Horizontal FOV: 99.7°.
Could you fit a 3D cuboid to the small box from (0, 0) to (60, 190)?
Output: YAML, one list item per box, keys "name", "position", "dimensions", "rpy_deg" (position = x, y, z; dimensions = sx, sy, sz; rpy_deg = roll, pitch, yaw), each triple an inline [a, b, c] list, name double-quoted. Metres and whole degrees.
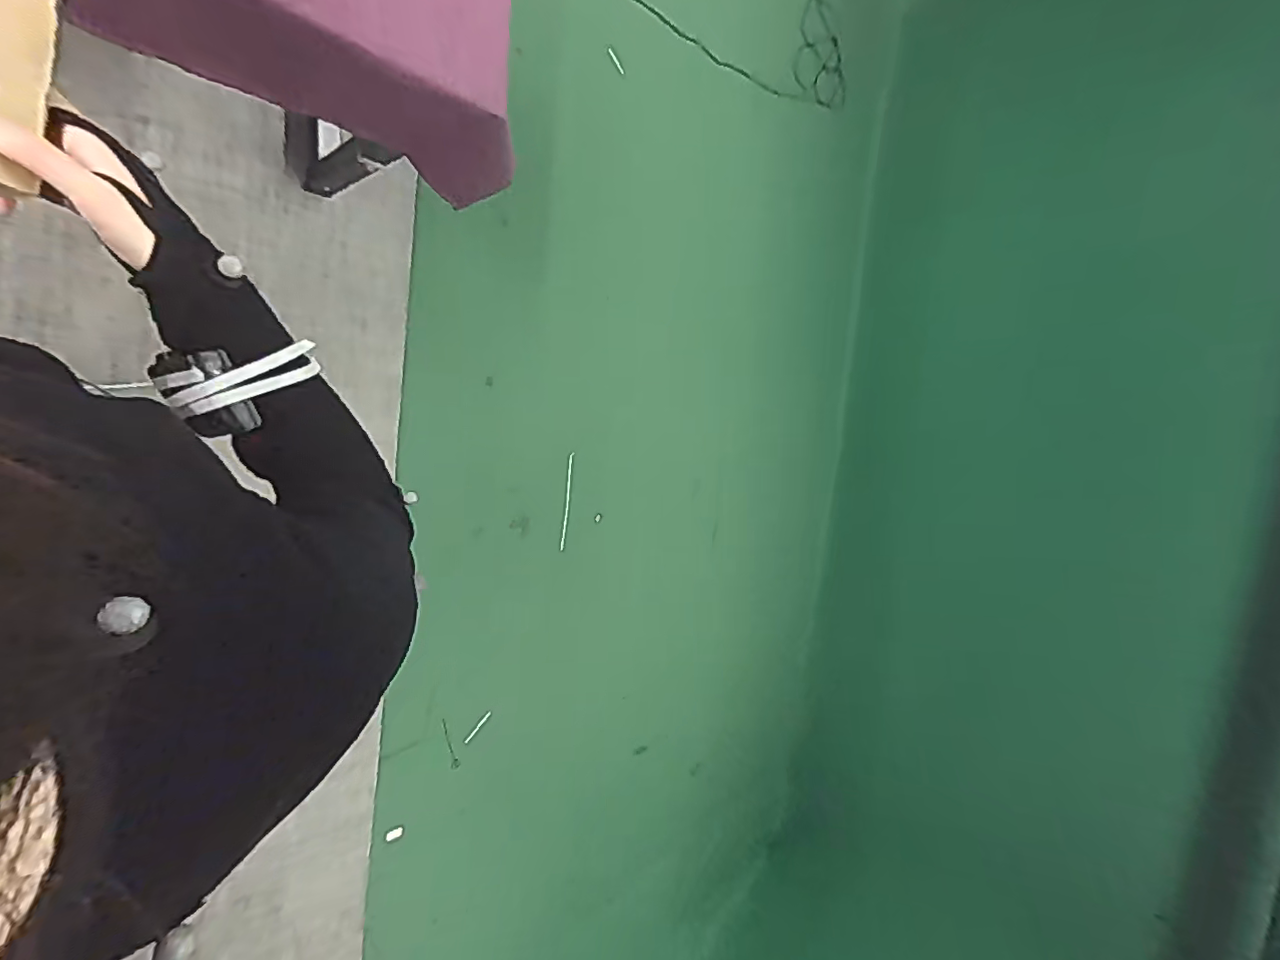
- name: "small box"
  position: [-0.424, -0.255, 0.233]
  dimensions: [0.179, 0.176, 0.168]
  rpy_deg: [-4, 104, -82]
